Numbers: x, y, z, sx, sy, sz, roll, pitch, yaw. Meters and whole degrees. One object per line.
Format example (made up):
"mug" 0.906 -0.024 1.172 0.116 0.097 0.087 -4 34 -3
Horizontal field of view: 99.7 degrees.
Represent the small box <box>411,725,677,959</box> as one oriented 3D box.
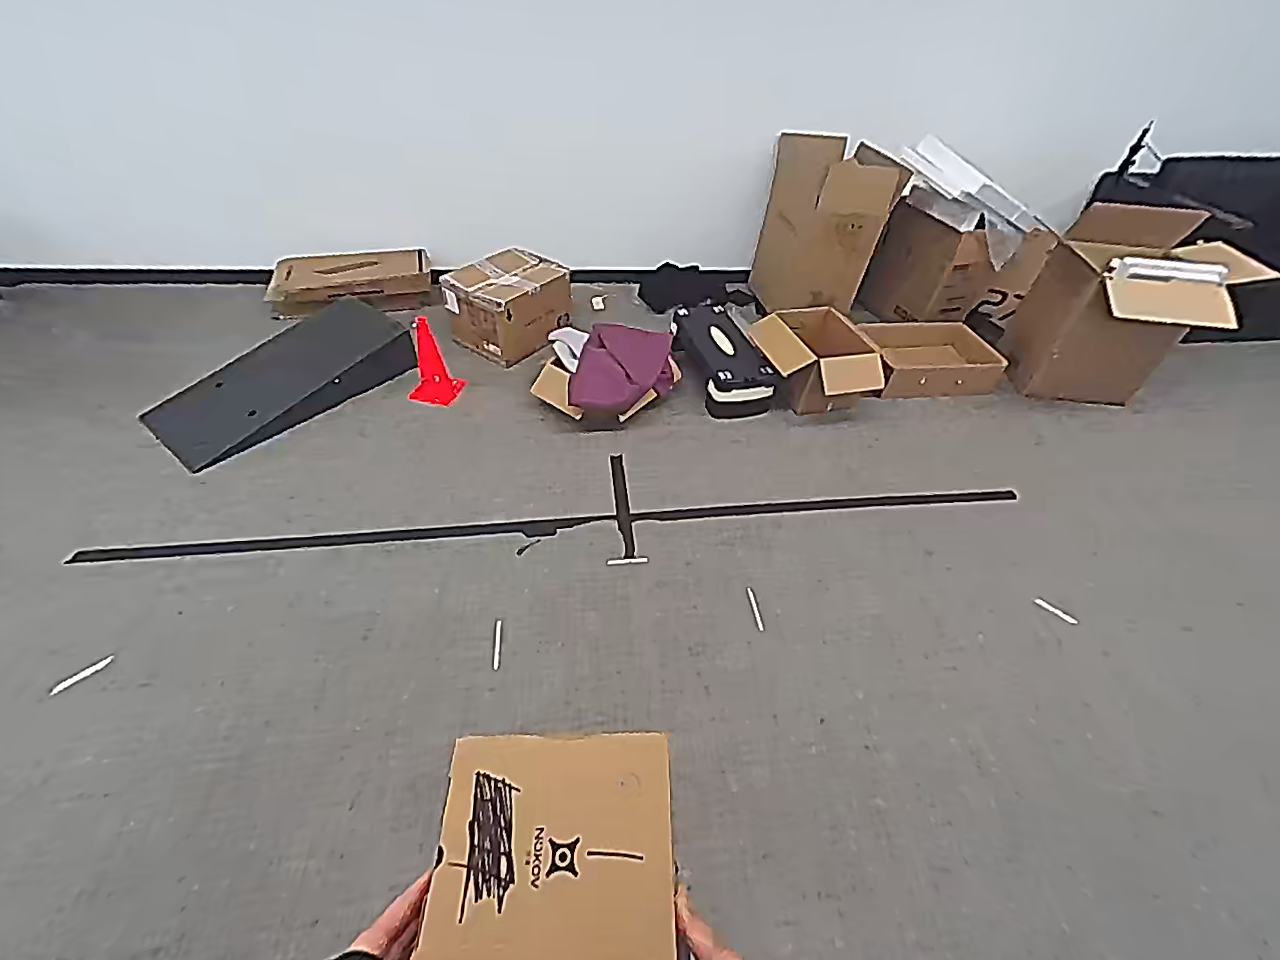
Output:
"small box" -0.060 0.319 0.454 0.179 0.176 0.168 -2 49 2
